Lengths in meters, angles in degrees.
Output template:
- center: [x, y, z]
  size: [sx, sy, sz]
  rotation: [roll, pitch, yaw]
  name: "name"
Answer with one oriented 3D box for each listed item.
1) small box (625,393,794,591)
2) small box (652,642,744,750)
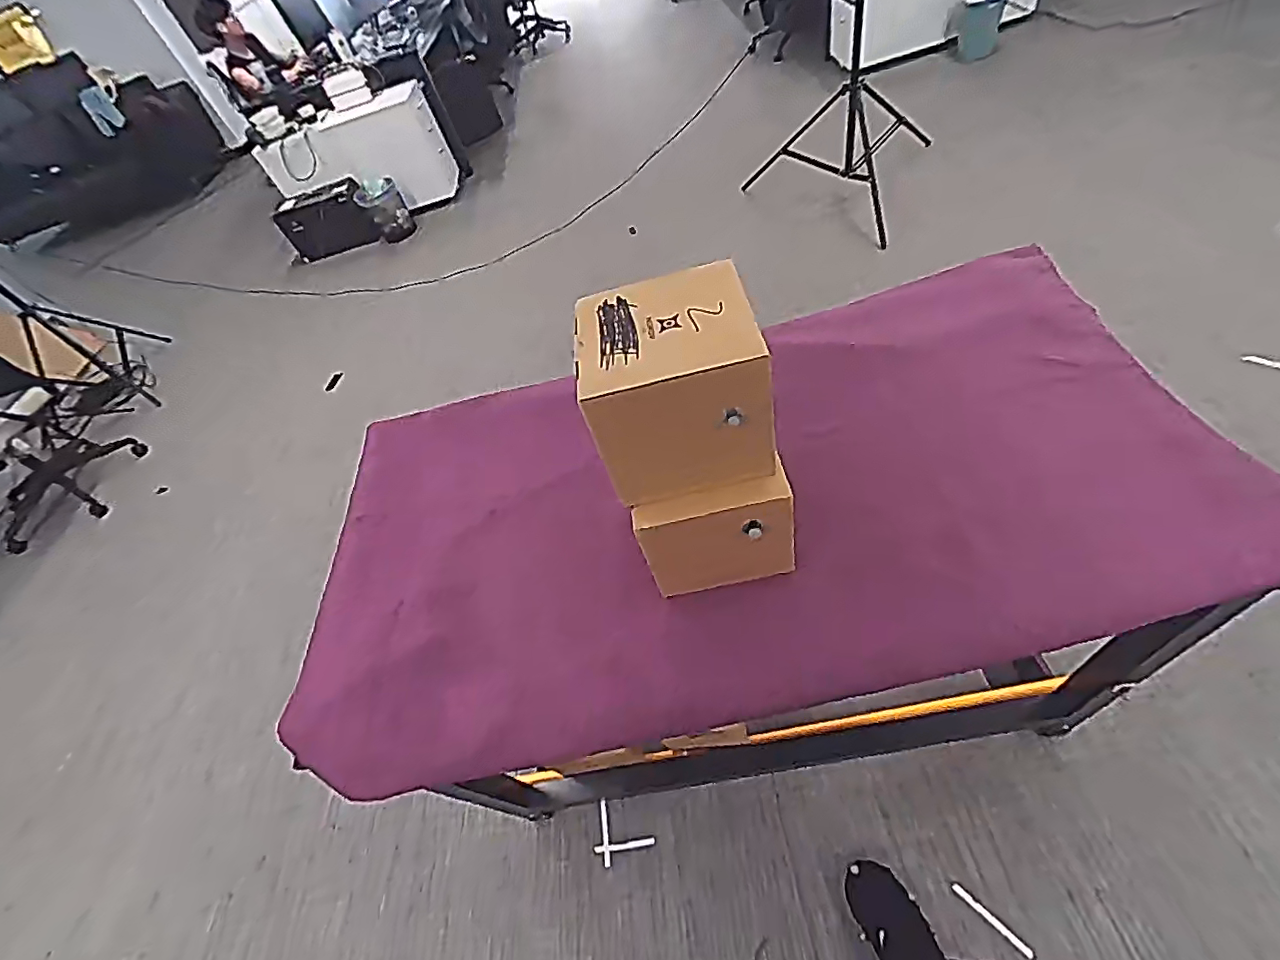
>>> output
- center: [0.088, 0.021, 0.688]
  size: [0.179, 0.176, 0.168]
  rotation: [-13, 49, 7]
  name: "small box"
- center: [0.123, 0.462, 1.141]
  size: [0.168, 0.176, 0.179]
  rotation: [-8, 51, 9]
  name: "small box"
